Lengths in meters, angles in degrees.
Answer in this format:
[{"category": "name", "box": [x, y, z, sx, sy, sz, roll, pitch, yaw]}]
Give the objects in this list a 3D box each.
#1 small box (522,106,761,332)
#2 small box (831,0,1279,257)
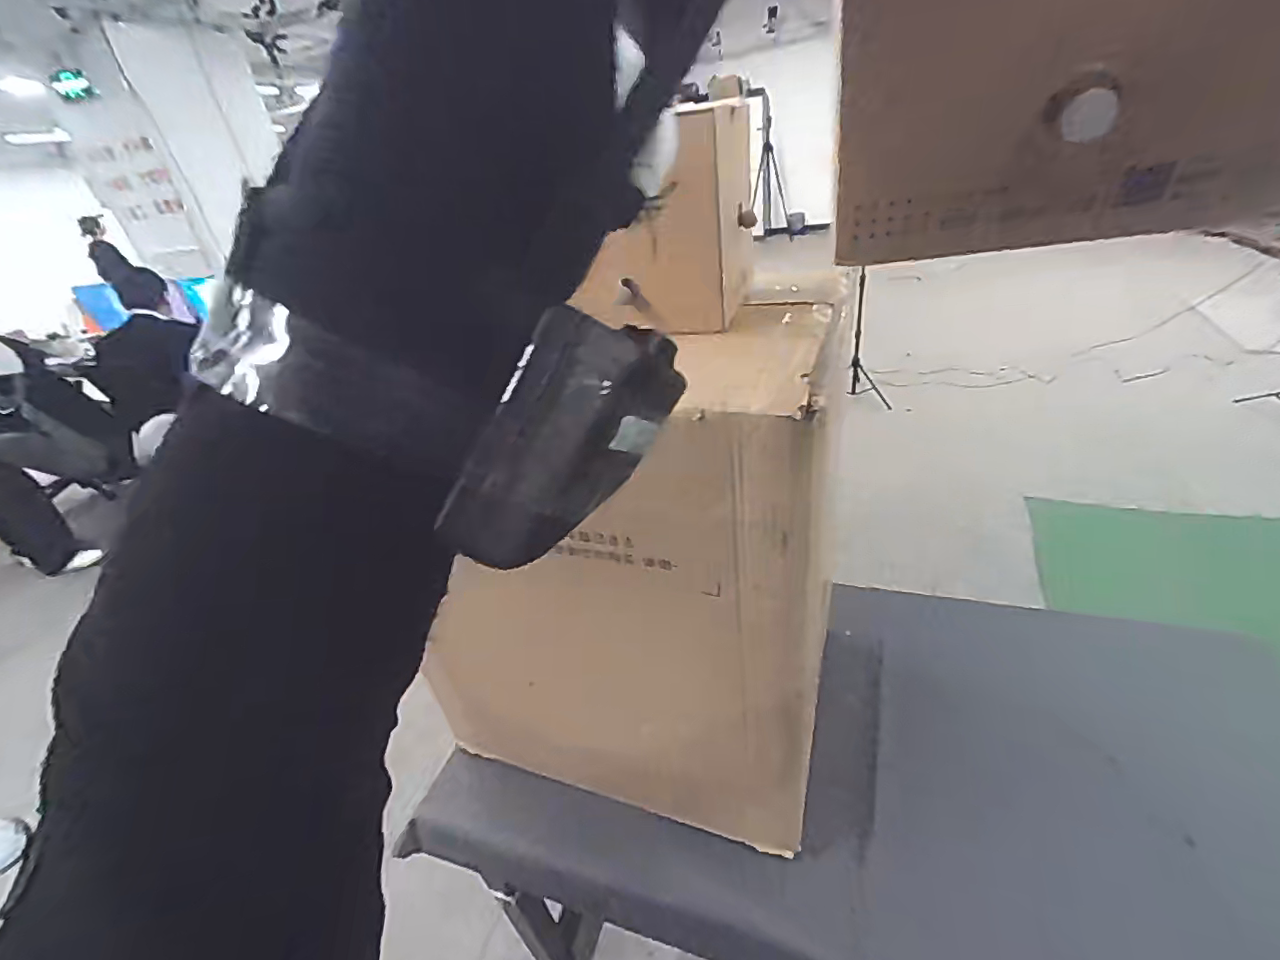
[{"category": "small box", "box": [0.016, -0.251, 0.526, 0.179, 0.176, 0.168, 6, 36, 19]}, {"category": "small box", "box": [0.164, -0.213, 0.208, 0.168, 0.176, 0.179, 1, 53, 19]}]
